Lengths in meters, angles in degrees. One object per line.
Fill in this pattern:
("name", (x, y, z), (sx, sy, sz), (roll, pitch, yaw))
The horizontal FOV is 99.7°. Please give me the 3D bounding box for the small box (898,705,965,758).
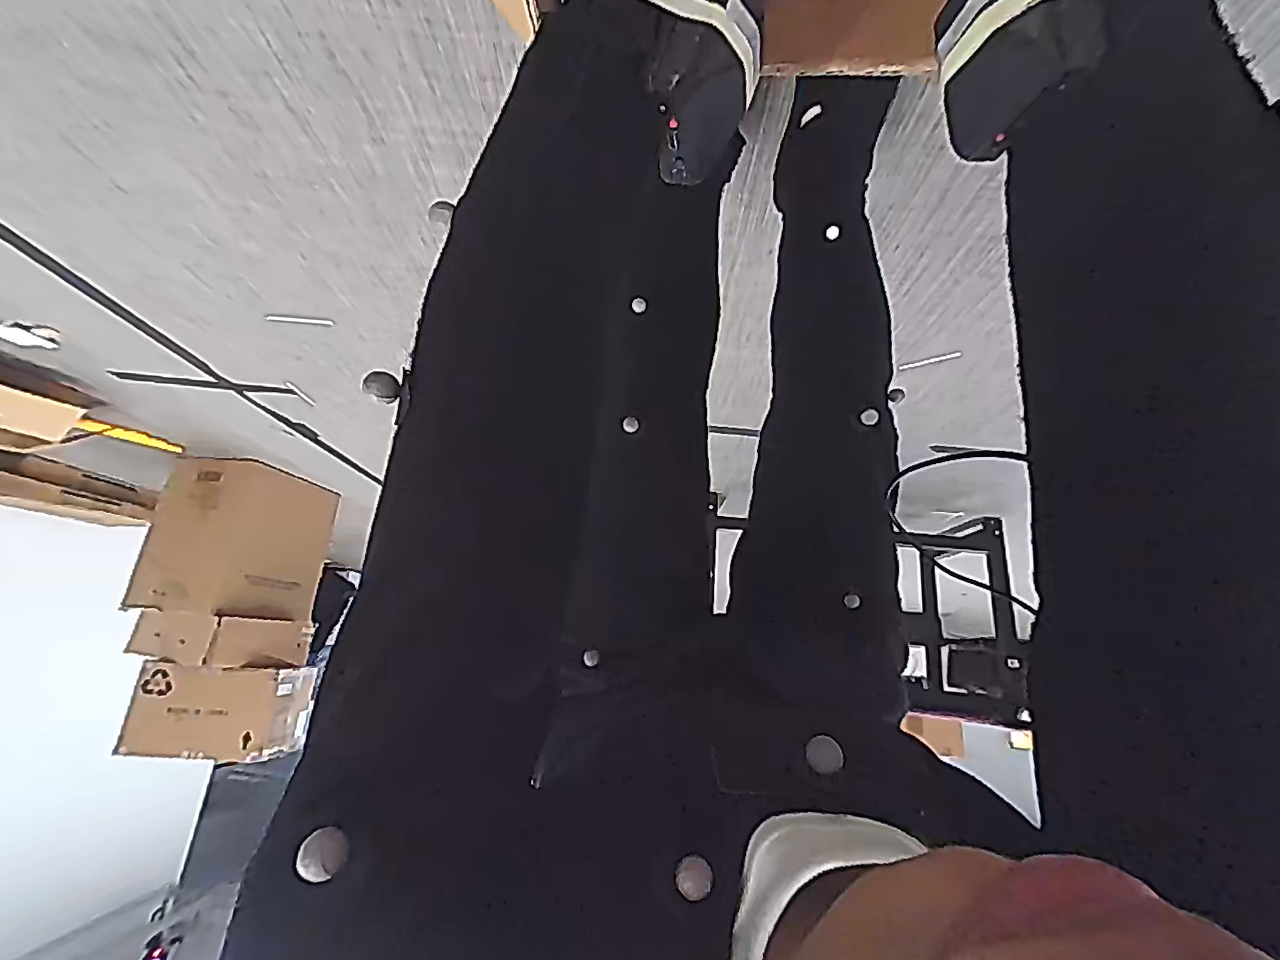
("small box", (1.134, 0.980, 2.121), (0.168, 0.176, 0.179), (7, 162, -5))
